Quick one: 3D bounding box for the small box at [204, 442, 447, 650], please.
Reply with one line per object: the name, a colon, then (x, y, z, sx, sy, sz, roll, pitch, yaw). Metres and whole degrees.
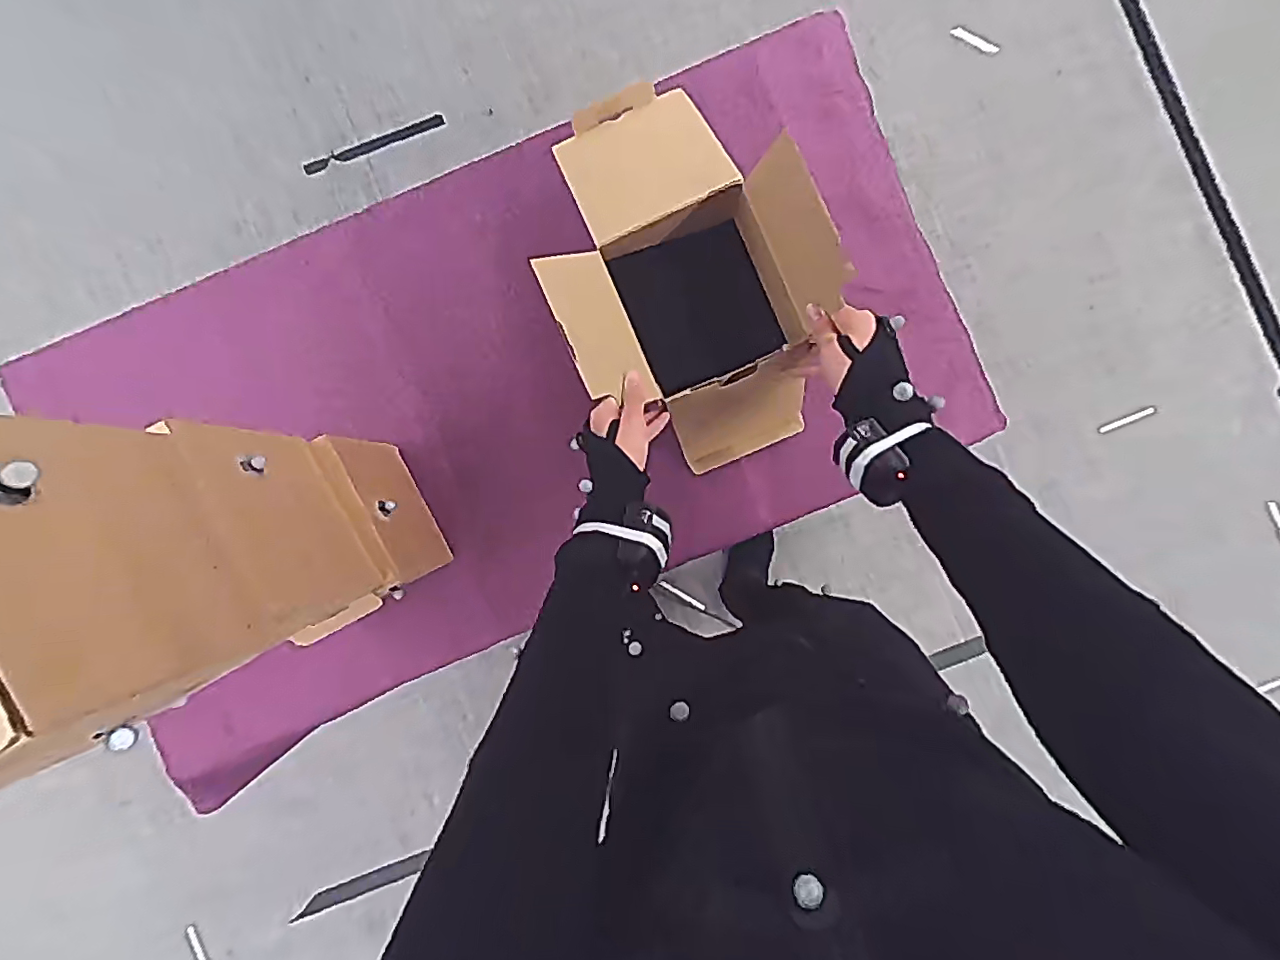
small box: (-0.363, 0.069, 0.650, 0.168, 0.176, 0.179, -27, 90, 0)

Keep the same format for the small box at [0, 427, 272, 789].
small box: (-0.377, 0.082, 0.319, 0.168, 0.176, 0.179, -30, 89, 1)
